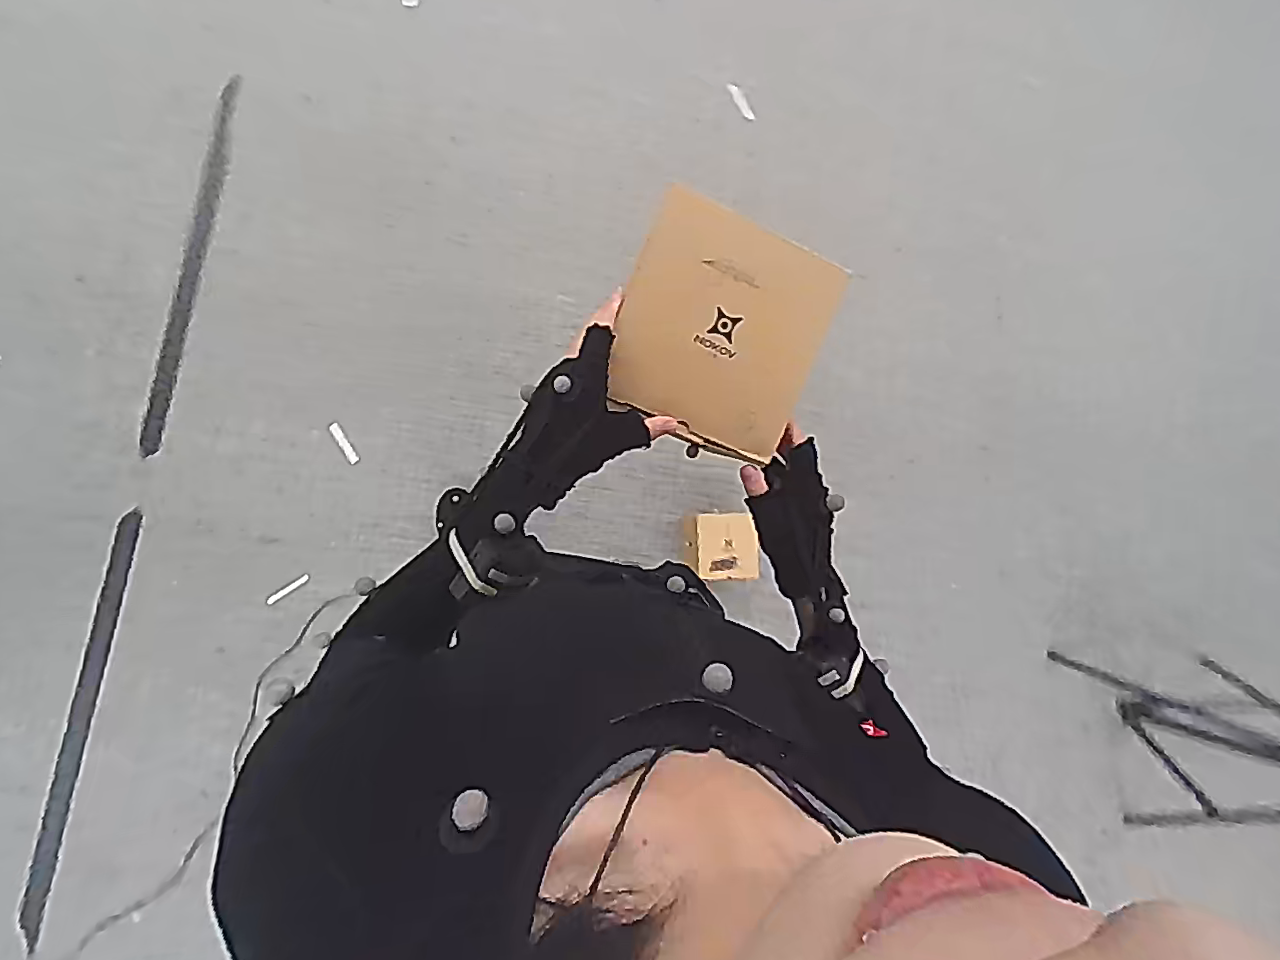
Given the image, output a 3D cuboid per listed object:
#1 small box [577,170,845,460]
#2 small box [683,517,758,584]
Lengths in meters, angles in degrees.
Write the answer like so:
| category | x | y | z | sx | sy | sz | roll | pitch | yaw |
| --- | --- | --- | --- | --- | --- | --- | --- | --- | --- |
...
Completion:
| category | x | y | z | sx | sy | sz | roll | pitch | yaw |
| --- | --- | --- | --- | --- | --- | --- | --- | --- | --- |
| small box | 0.049 | -0.134 | 0.501 | 0.168 | 0.176 | 0.179 | 22 | 93 | -11 |
| small box | 0.218 | 0.190 | 1.495 | 0.168 | 0.176 | 0.179 | 0 | 84 | -10 |
